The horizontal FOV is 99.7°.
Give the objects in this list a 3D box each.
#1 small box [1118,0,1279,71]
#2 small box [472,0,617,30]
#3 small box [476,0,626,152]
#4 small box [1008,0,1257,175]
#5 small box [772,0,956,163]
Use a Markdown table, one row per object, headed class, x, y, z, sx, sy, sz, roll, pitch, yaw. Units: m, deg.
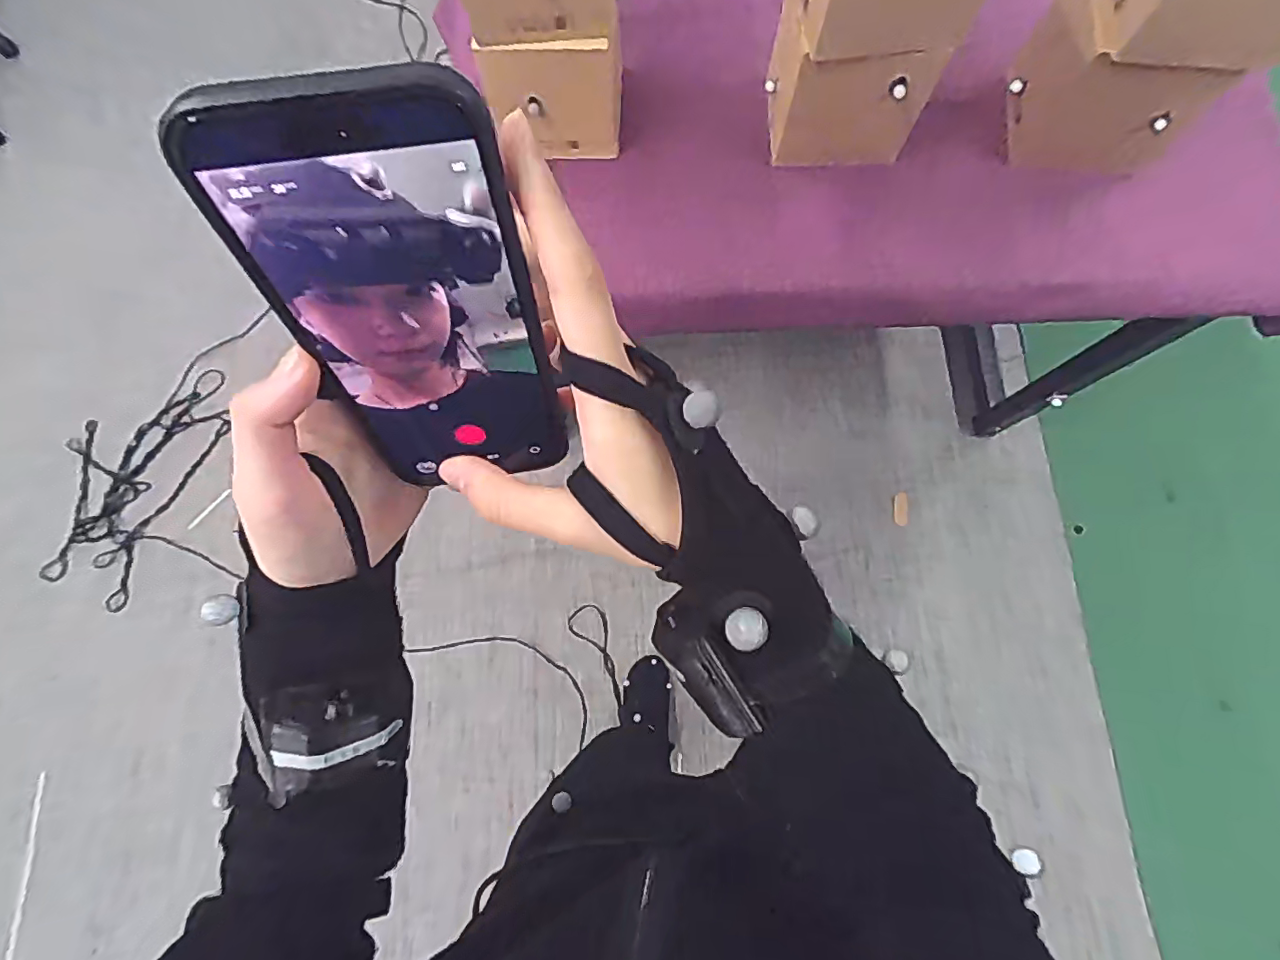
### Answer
| class | x | y | z | sx | sy | sz | roll | pitch | yaw |
| --- | --- | --- | --- | --- | --- | --- | --- | --- | --- |
| small box | 0.624 | -0.552 | 0.538 | 0.179 | 0.176 | 0.168 | 7 | 77 | 3 |
| small box | -0.114 | -0.625 | 0.578 | 0.168 | 0.176 | 0.179 | -3 | 77 | 1 |
| small box | -0.108 | -0.580 | 0.736 | 0.168 | 0.176 | 0.179 | 2 | 77 | 3 |
| small box | 0.620 | -0.529 | 0.701 | 0.179 | 0.176 | 0.168 | 7 | 77 | 4 |
| small box | 0.281 | -0.551 | 0.715 | 0.179 | 0.176 | 0.168 | 1 | 77 | 2 |
